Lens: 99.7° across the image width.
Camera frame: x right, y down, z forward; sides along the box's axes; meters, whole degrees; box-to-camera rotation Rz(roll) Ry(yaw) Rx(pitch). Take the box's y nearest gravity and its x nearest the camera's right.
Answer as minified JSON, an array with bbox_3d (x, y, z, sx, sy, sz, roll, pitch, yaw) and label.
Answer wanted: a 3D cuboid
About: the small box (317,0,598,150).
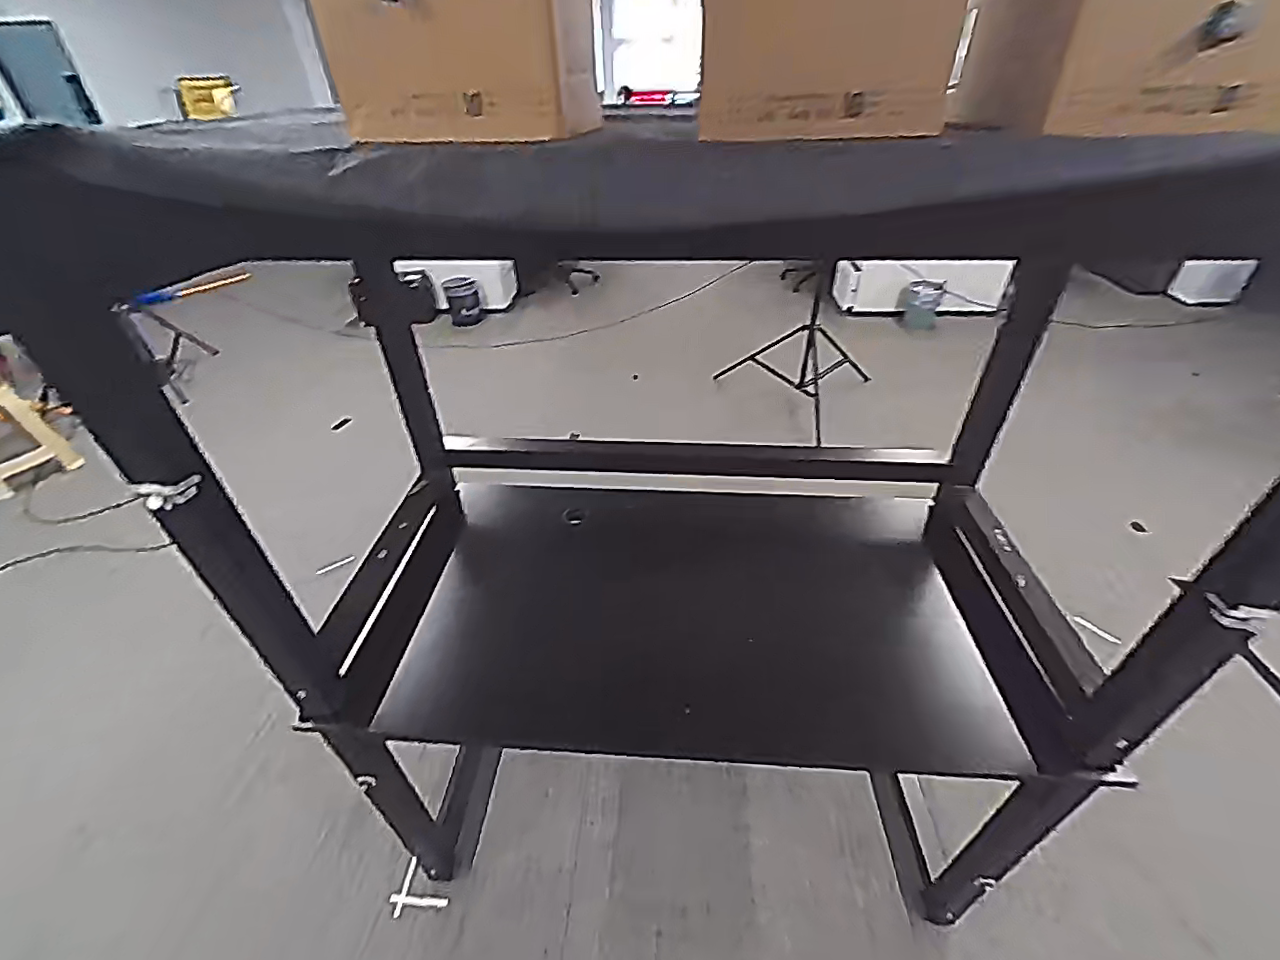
[{"bbox_3d":[-0.129,-0.362,0.424,0.168,0.176,0.179,3,36,6],"label":"small box"}]

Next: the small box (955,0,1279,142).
[{"bbox_3d":[0.348,-0.337,0.370,0.168,0.176,0.179,1,37,6],"label":"small box"}]
